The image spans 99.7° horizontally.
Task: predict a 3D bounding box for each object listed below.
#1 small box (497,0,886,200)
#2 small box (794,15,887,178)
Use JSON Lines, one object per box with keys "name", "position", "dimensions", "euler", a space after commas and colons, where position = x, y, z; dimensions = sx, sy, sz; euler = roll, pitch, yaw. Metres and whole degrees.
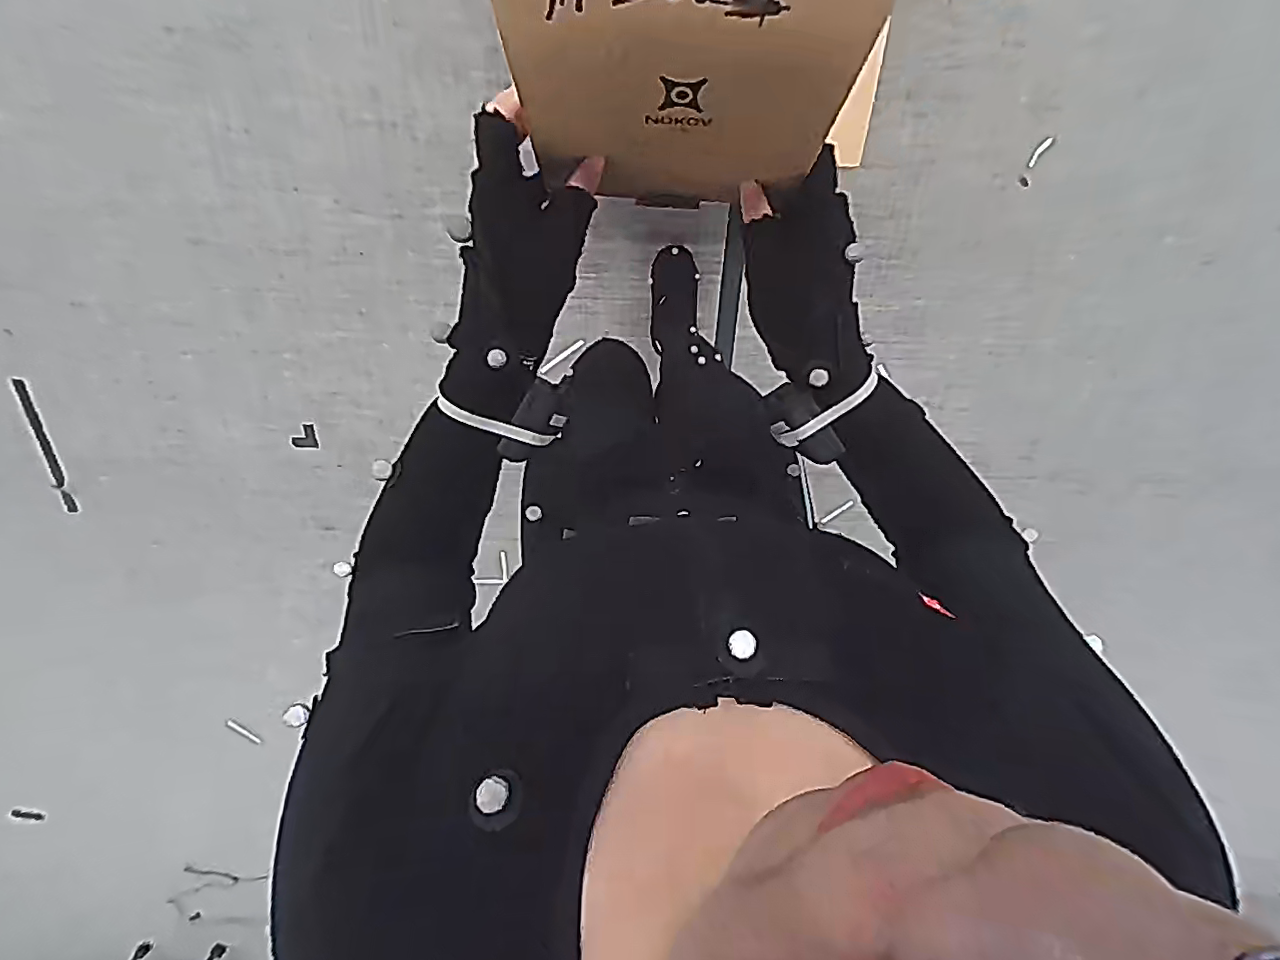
{"name": "small box", "position": [0.022, -0.280, 0.286], "dimensions": [0.168, 0.179, 0.176], "euler": [2, 87, -1]}
{"name": "small box", "position": [0.232, -0.559, 0.801], "dimensions": [0.168, 0.176, 0.179], "euler": [3, 116, -2]}
